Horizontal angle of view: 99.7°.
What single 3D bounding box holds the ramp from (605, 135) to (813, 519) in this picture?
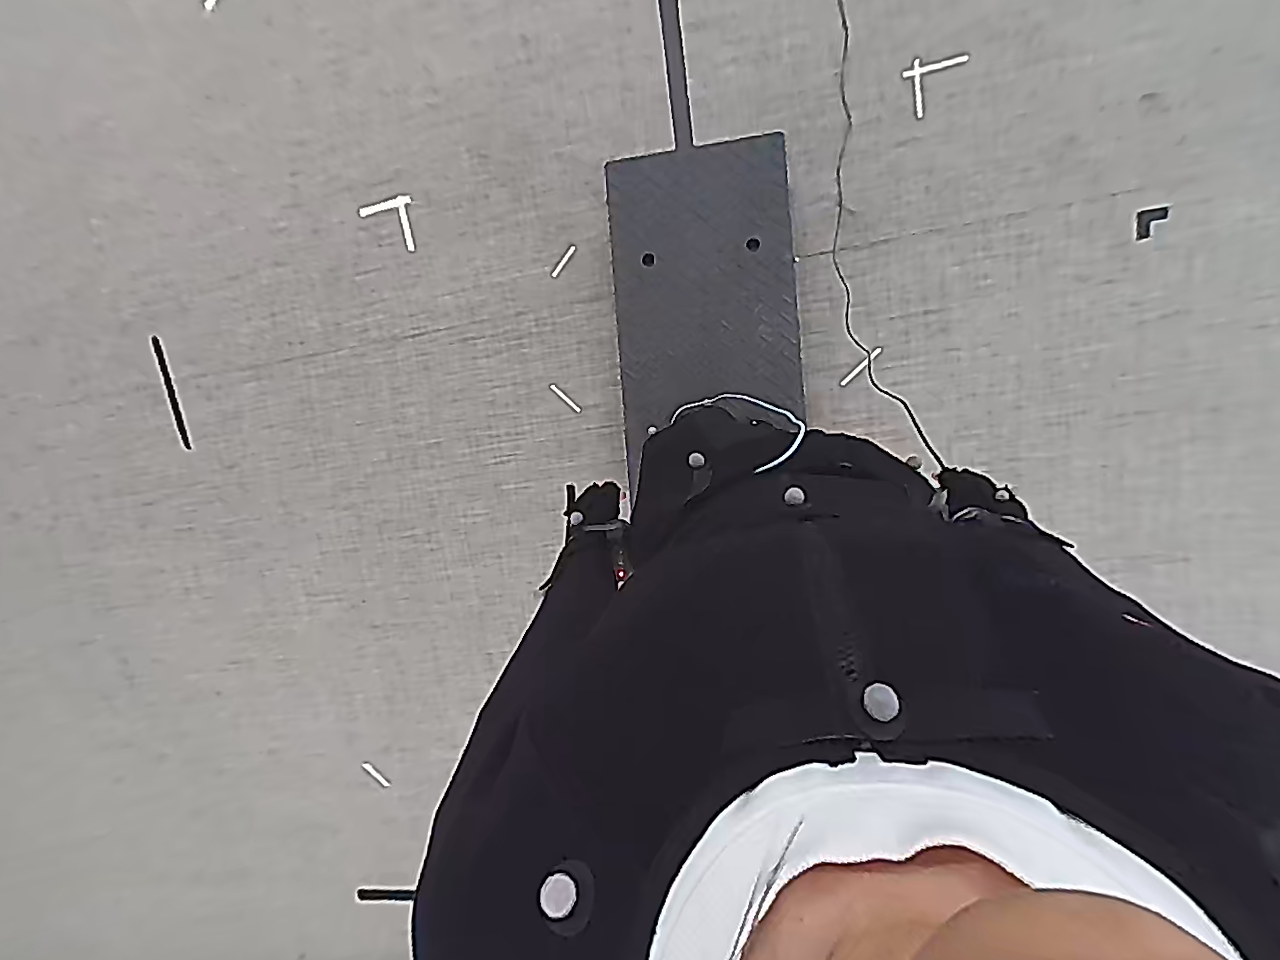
[{"bbox_3d":[0.176,-0.406,1.473,0.509,0.206,0.991,-6,98,11],"label":"ramp"}]
